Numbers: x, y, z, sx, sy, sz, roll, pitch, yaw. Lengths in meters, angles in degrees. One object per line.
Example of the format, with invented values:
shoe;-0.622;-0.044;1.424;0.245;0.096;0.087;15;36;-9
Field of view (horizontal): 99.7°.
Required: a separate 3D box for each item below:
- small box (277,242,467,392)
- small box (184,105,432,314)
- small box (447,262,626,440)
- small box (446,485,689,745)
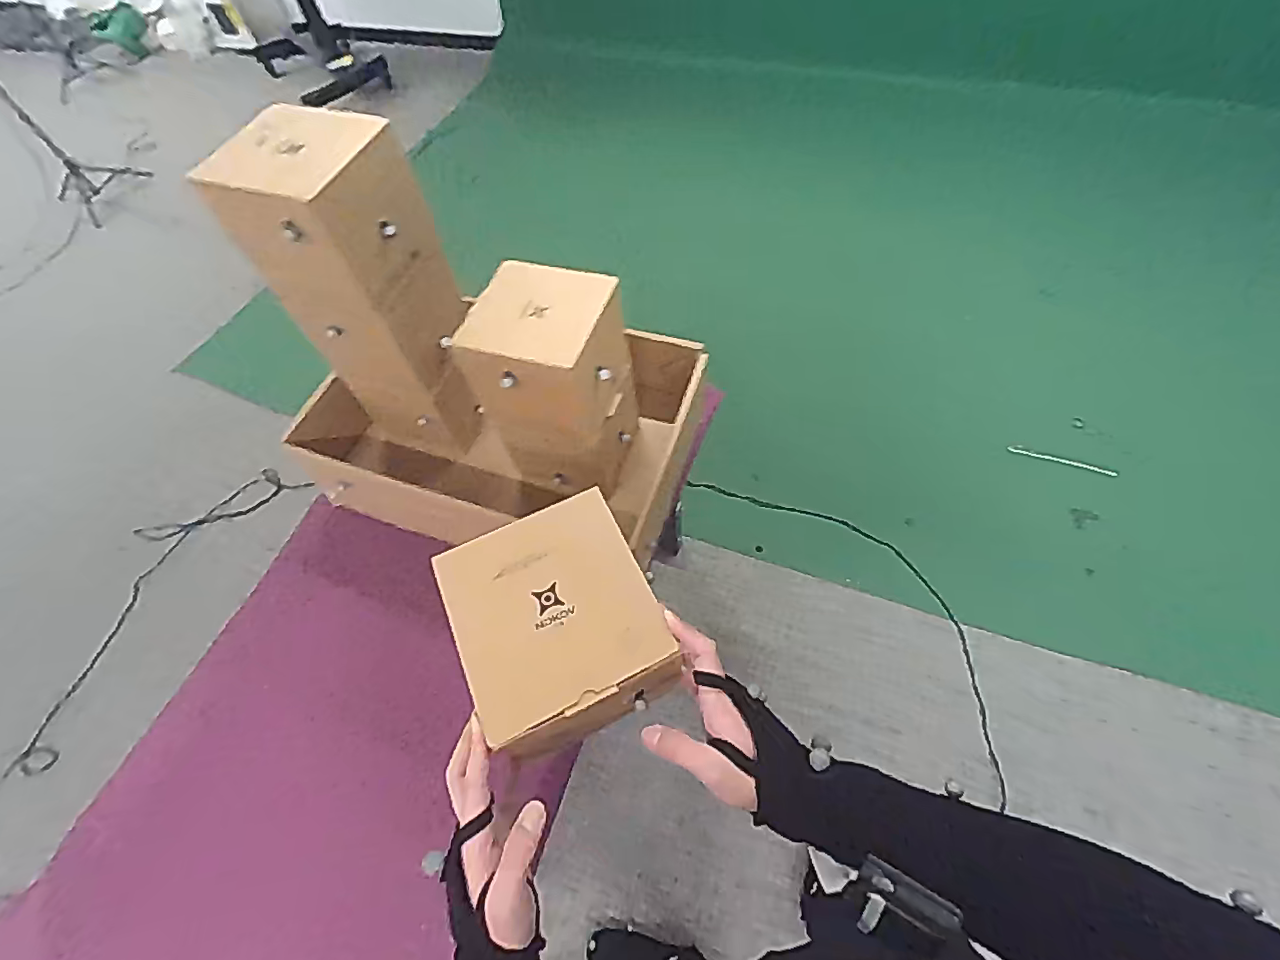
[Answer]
small box;-0.395;-0.258;0.838;0.179;0.176;0.168;14;63;11
small box;-0.402;-0.339;0.694;0.179;0.176;0.168;15;62;12
small box;-0.131;-0.177;0.771;0.179;0.176;0.168;14;63;15
small box;-0.063;0.140;0.530;0.168;0.176;0.179;-23;62;-11
